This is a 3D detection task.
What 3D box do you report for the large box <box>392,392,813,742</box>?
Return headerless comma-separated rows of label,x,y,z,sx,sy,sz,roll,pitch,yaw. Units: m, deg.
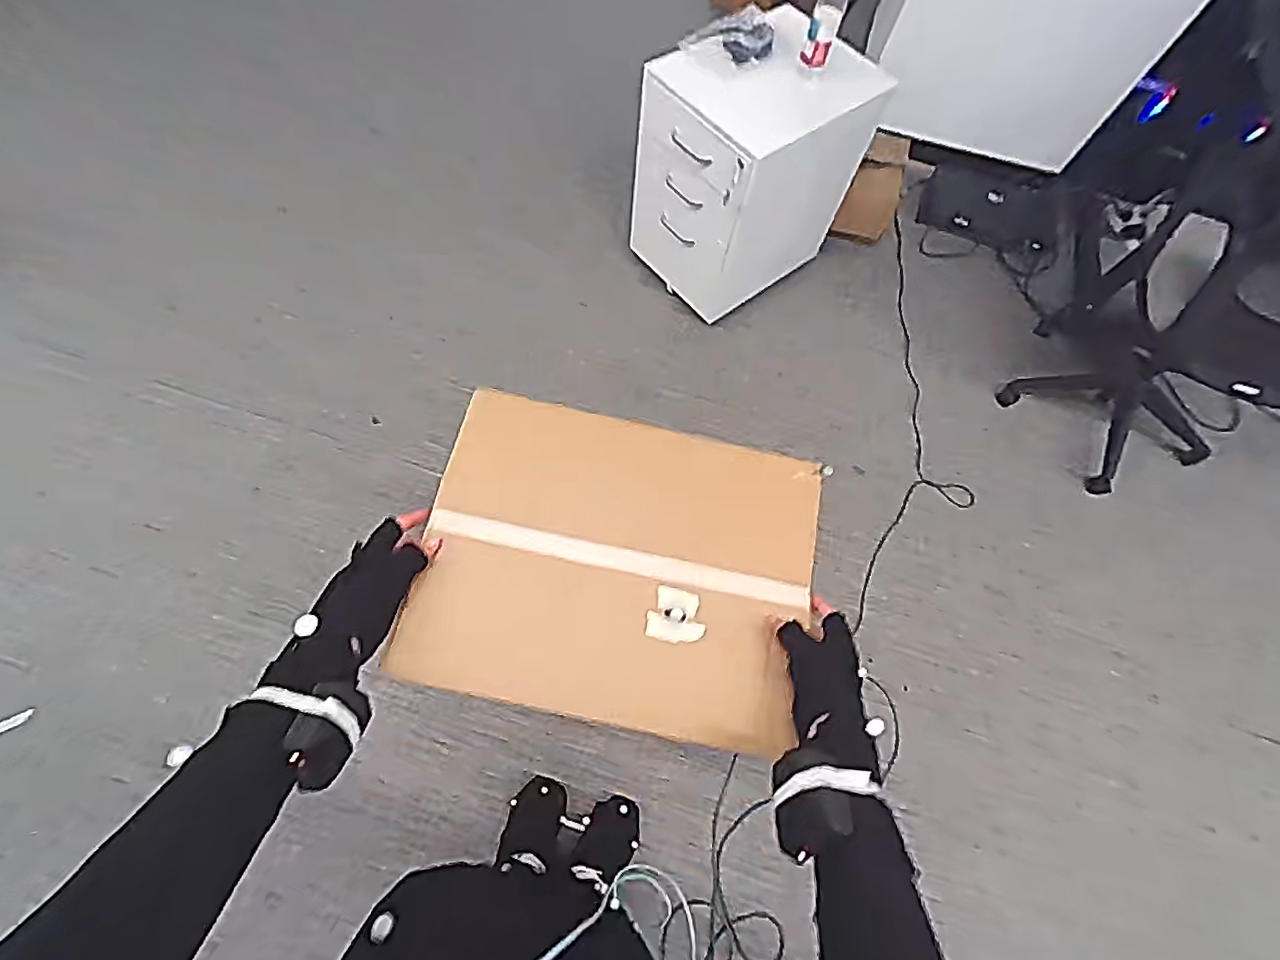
large box,-0.035,0.125,0.712,0.408,0.320,0.320,13,71,-1
